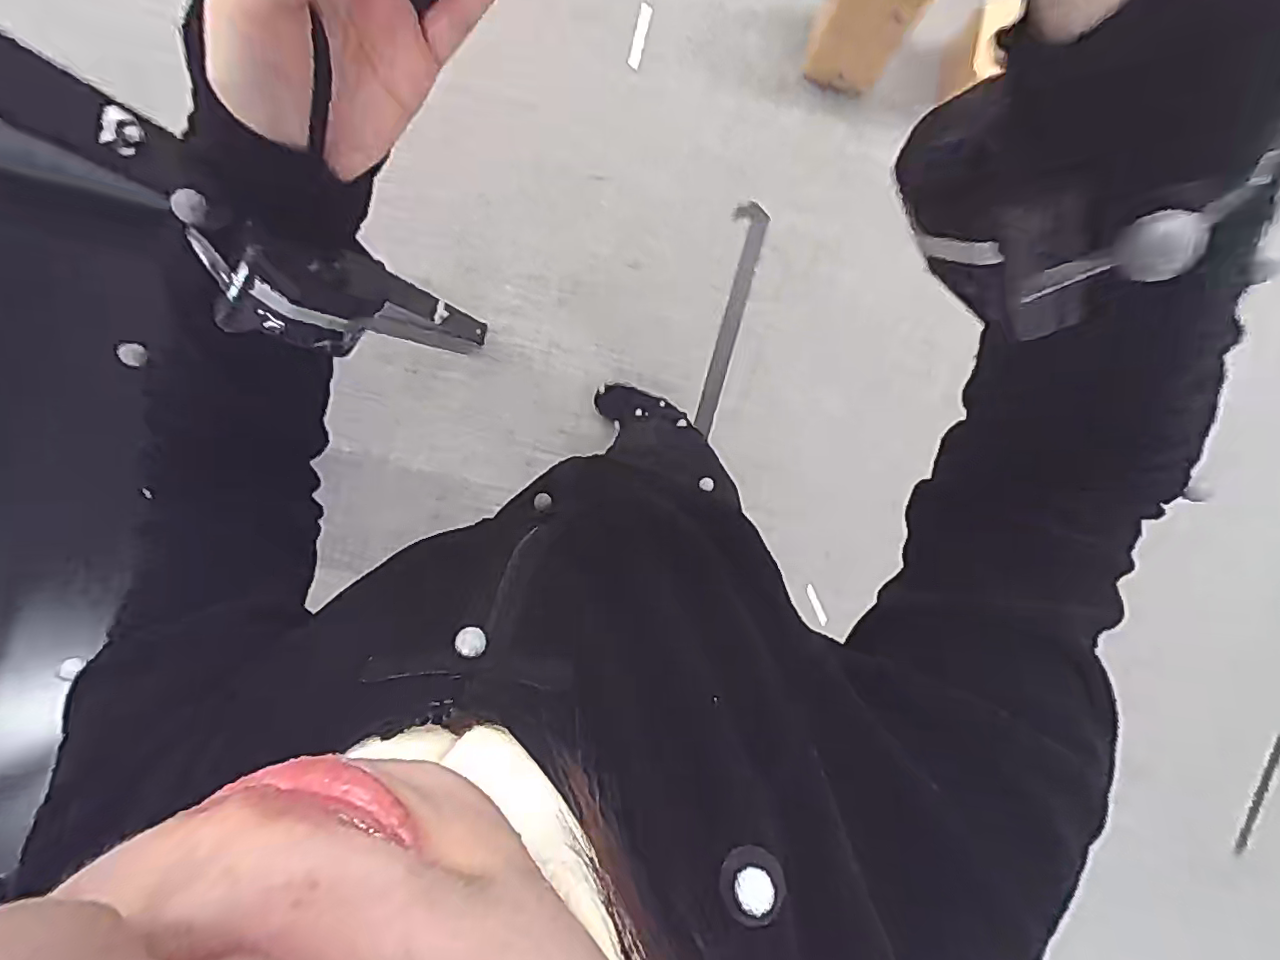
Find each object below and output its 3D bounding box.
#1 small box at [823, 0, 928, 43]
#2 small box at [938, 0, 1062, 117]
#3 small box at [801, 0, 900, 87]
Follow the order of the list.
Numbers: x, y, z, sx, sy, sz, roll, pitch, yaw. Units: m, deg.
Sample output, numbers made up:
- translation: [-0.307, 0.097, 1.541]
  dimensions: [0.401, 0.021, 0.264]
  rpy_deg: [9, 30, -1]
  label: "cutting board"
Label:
- translation: [0.498, -1.041, 1.098]
  dimensions: [0.179, 0.176, 0.168]
  rpy_deg: [12, 96, 0]
  label: "small box"
- translation: [0.830, -0.990, 1.267]
  dimensions: [0.168, 0.176, 0.179]
  rpy_deg: [7, 96, 0]
  label: "small box"
- translation: [0.502, -1.062, 1.261]
  dimensions: [0.179, 0.176, 0.168]
  rpy_deg: [14, 96, -2]
  label: "small box"
